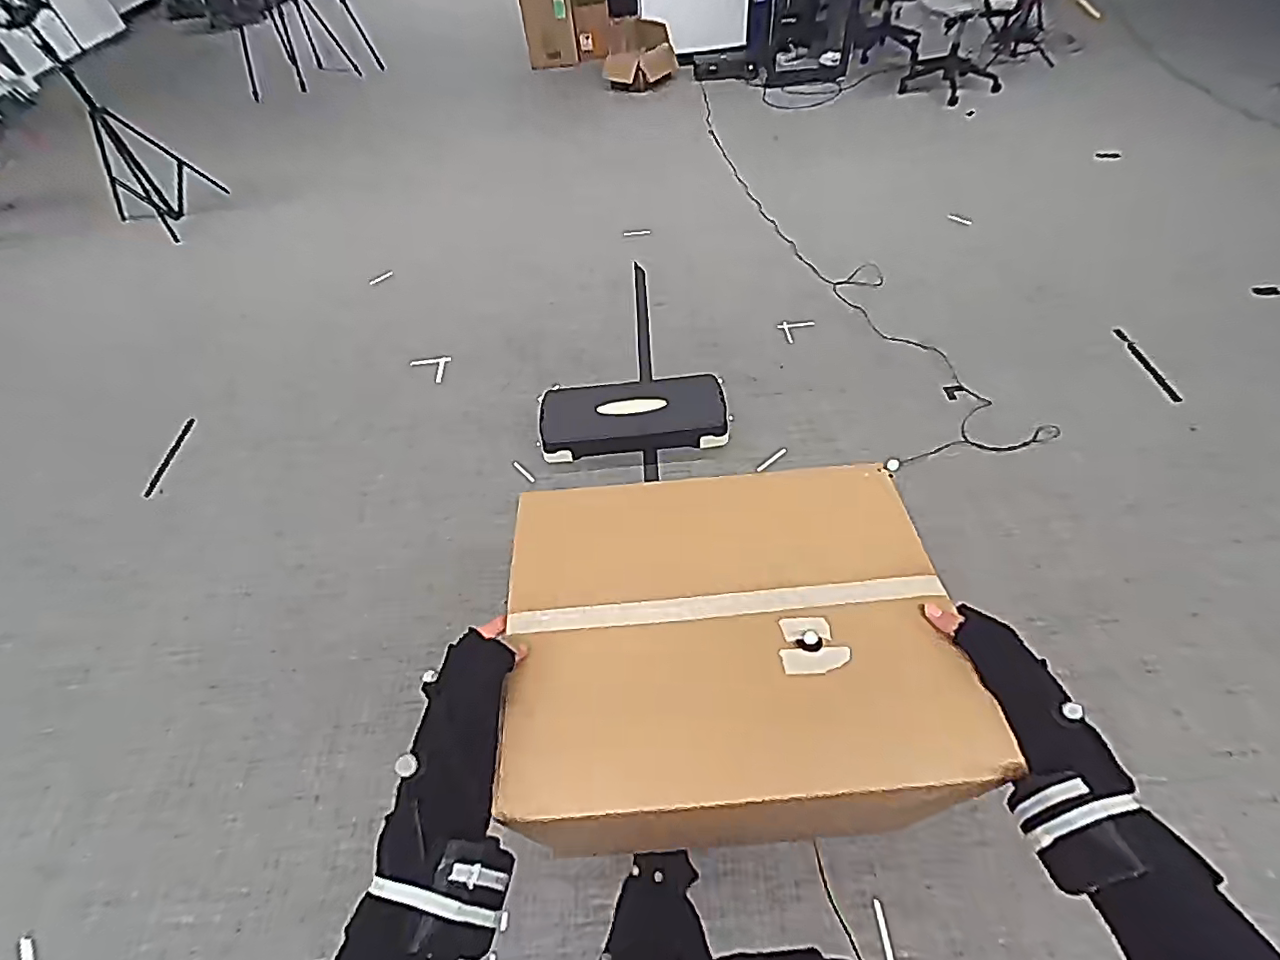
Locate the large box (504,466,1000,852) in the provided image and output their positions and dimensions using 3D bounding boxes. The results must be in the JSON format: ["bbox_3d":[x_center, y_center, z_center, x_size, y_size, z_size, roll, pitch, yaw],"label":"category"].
[{"bbox_3d":[0.084,0.214,0.631,0.408,0.320,0.320,-5,51,0],"label":"large box"}]
